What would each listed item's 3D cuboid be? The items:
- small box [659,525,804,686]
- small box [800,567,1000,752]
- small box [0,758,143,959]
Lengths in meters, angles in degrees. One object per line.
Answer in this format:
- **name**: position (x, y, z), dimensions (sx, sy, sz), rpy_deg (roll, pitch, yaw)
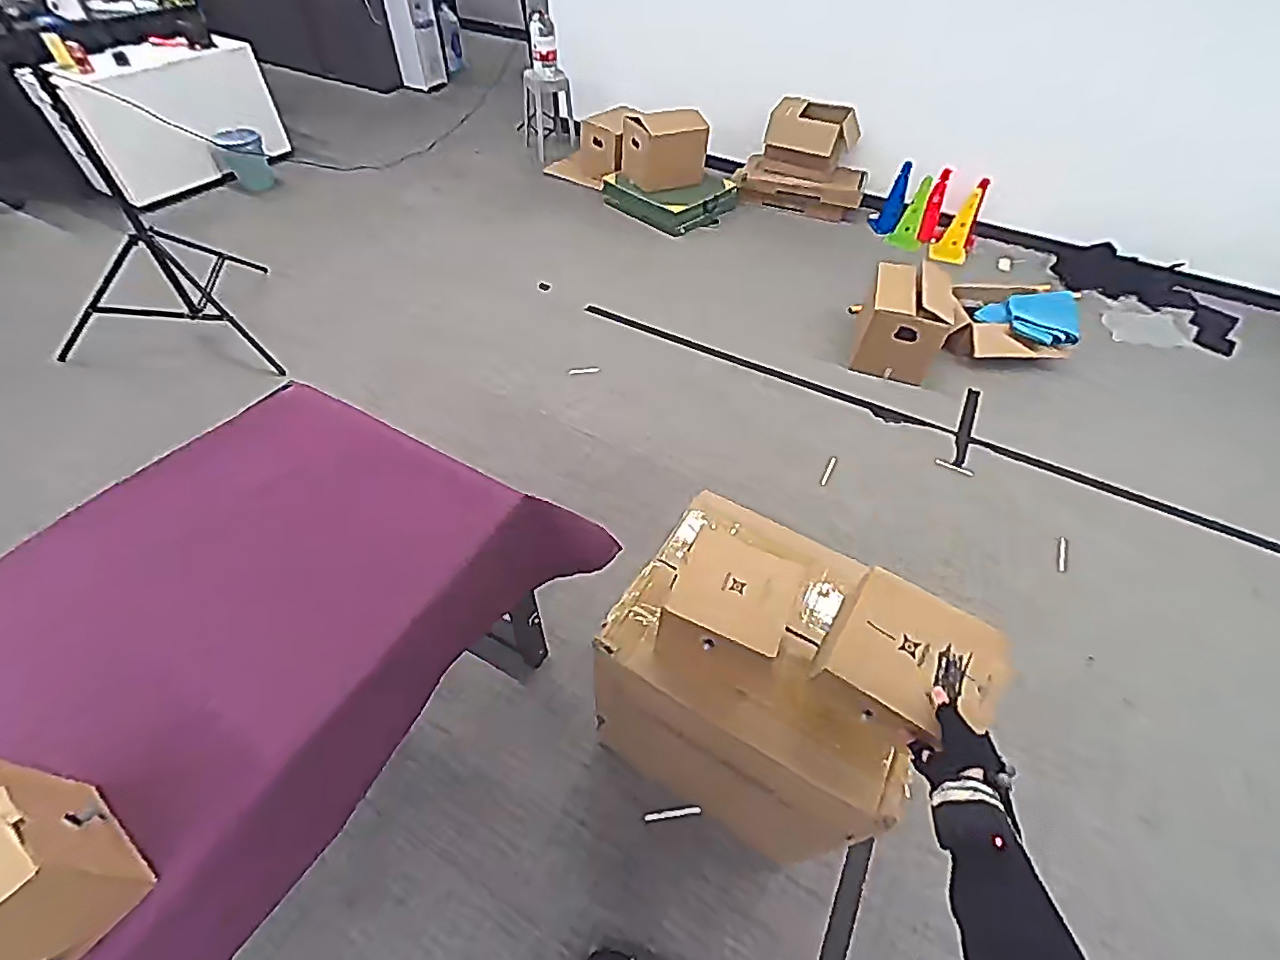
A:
- **small box**: position (0.139, 0.207, 0.874), dimensions (0.179, 0.176, 0.168), rpy_deg (21, 55, 13)
- **small box**: position (0.349, 0.255, 0.754), dimensions (0.179, 0.176, 0.168), rpy_deg (28, 65, 19)
- **small box**: position (-0.643, 0.408, 0.522), dimensions (0.168, 0.176, 0.179), rpy_deg (29, 54, 21)
